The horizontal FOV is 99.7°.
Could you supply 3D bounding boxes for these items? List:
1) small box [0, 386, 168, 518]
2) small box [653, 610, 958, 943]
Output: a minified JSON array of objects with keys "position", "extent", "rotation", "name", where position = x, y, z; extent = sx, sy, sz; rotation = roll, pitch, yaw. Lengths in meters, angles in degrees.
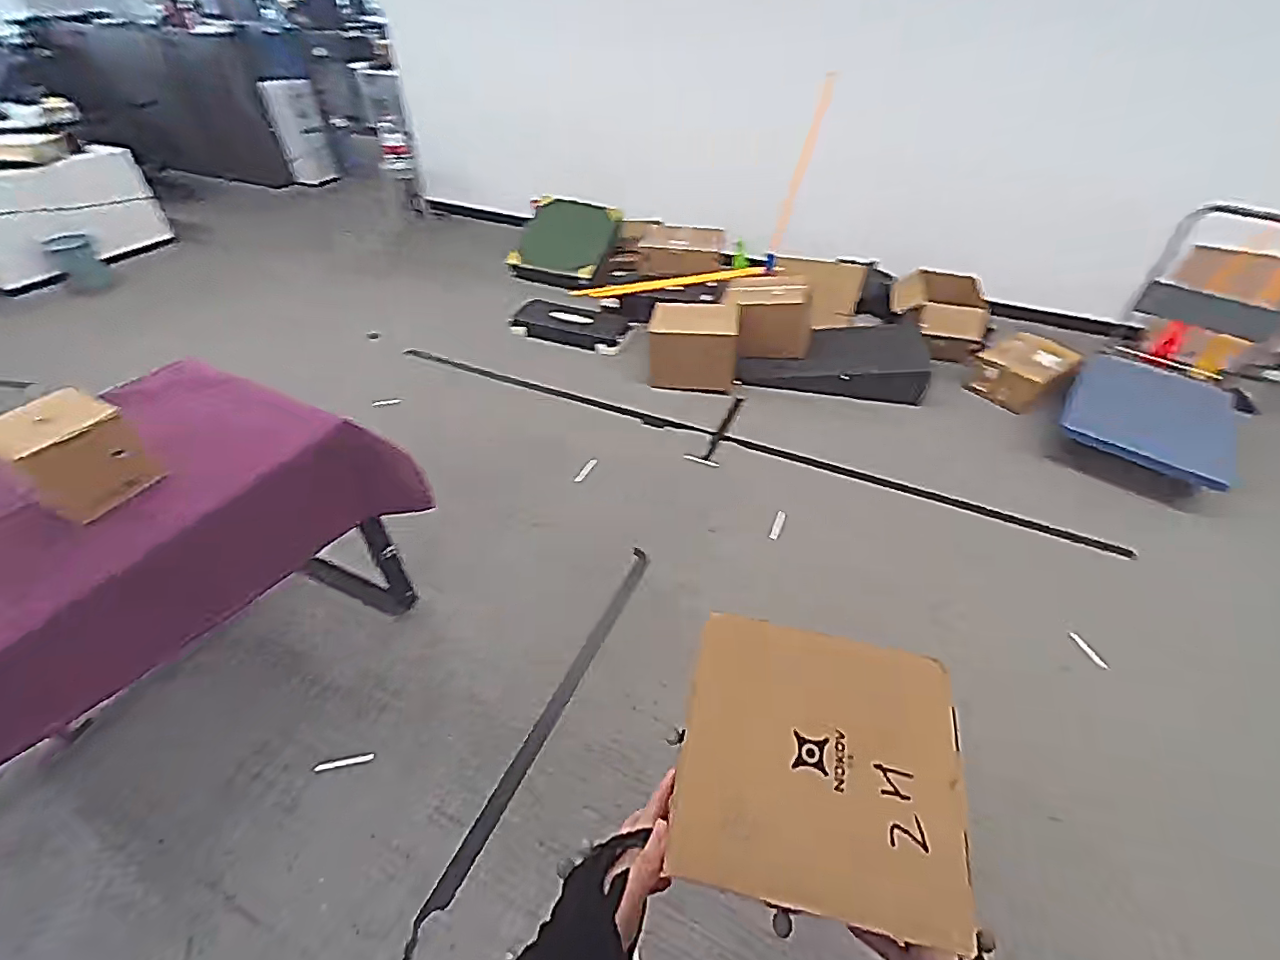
[{"position":[-1.084,-0.051,1.046],"extent":[0.179,0.176,0.168],"rotation":[18,45,18],"name":"small box"},{"position":[0.110,0.222,0.419],"extent":[0.179,0.176,0.168],"rotation":[10,57,7],"name":"small box"}]
